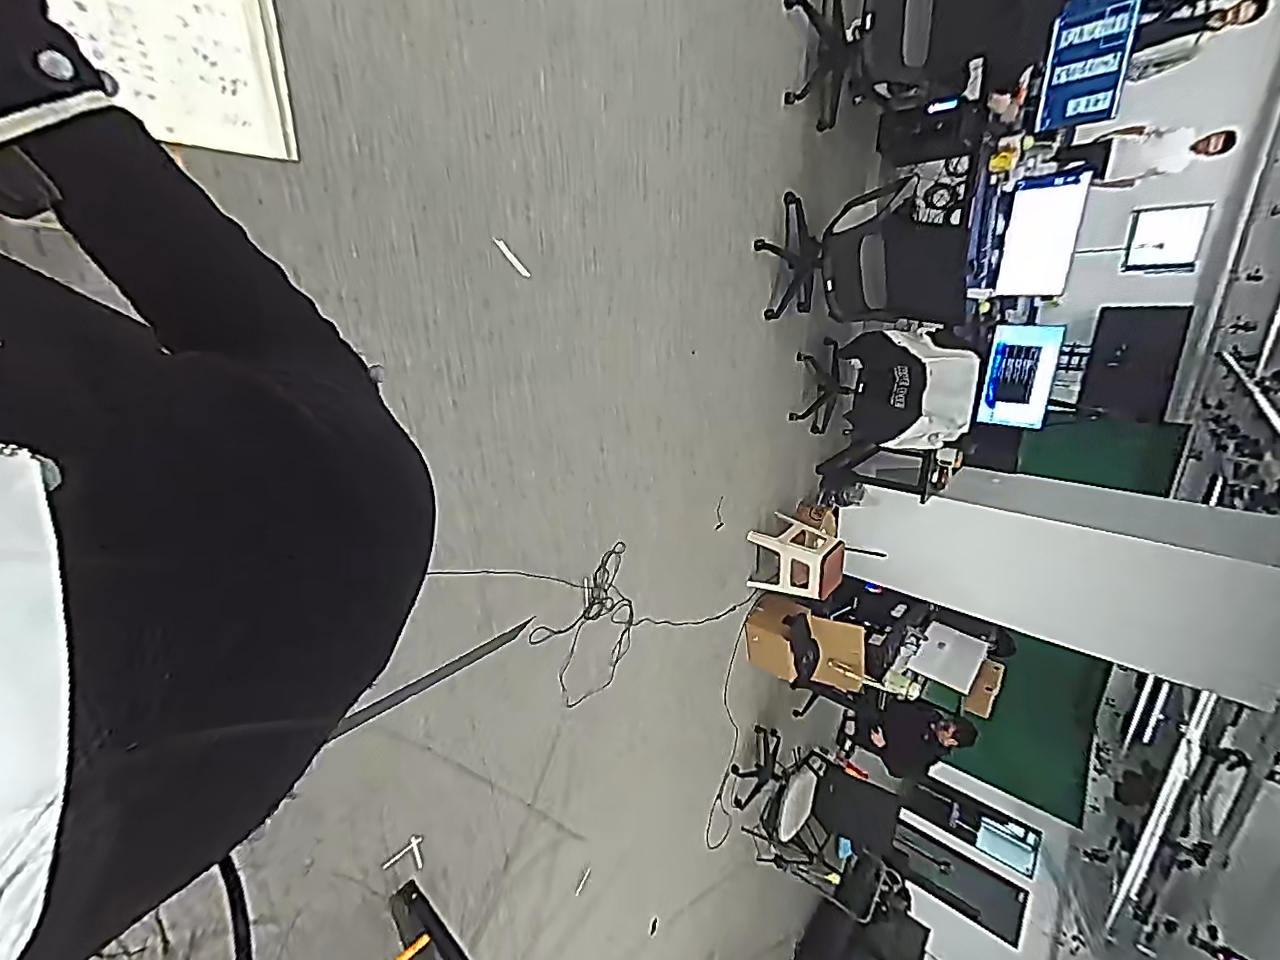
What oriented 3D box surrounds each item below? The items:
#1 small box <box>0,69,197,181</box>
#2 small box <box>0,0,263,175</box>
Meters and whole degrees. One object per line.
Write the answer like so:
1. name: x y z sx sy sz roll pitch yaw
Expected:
1. small box: -0.641 -0.455 0.630 0.179 0.176 0.168 -26 121 -45
2. small box: -0.512 -0.421 0.534 0.168 0.176 0.179 -22 120 -47
